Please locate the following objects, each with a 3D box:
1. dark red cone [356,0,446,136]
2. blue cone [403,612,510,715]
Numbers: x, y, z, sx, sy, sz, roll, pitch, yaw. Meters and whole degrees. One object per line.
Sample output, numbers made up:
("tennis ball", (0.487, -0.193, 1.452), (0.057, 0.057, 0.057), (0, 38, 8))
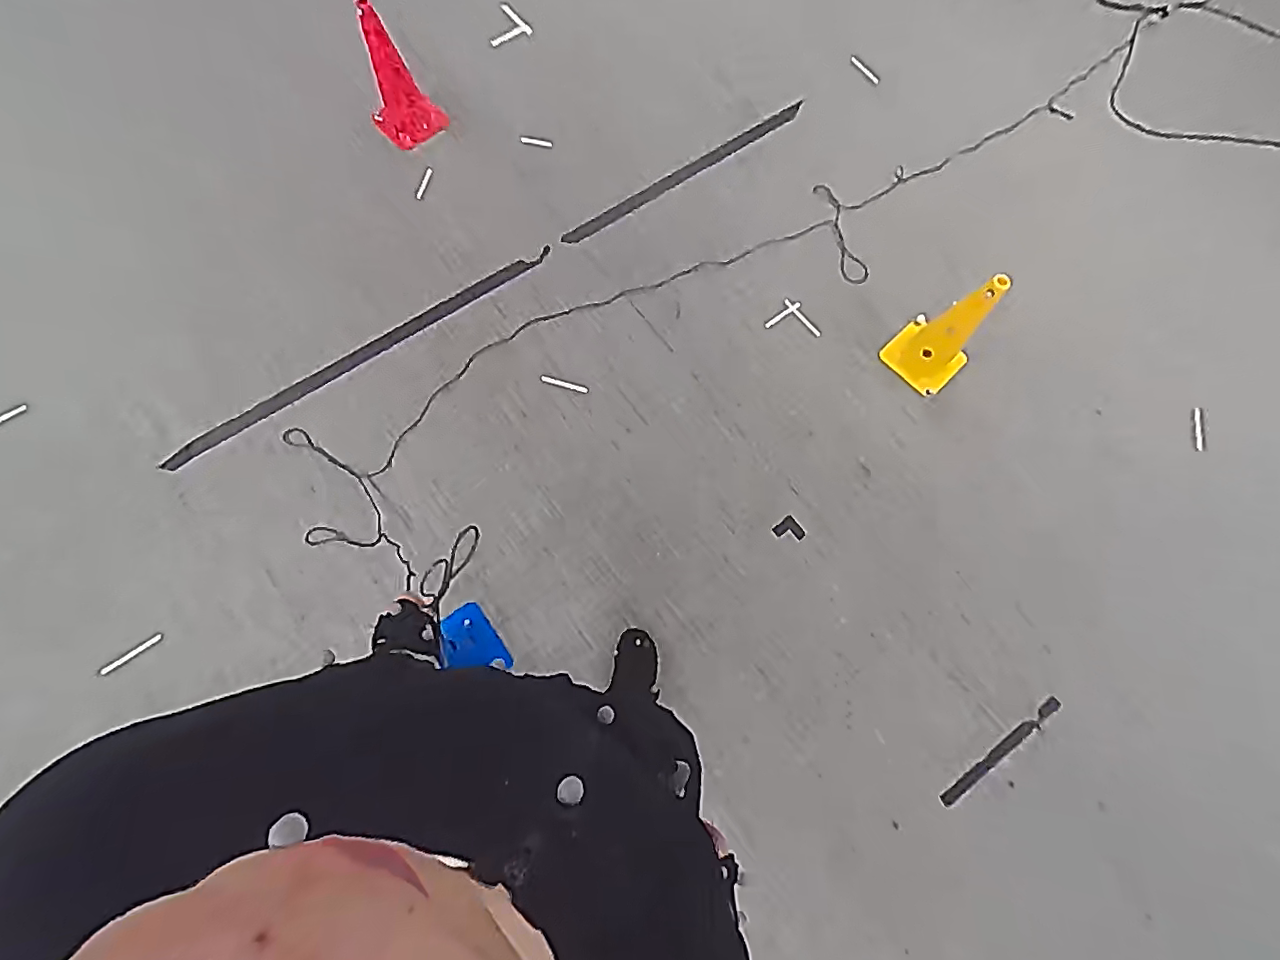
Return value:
("dark red cone", (-0.760, -1.270, 1.616), (0.202, 0.394, 0.201), (-43, 80, -12))
("blue cone", (-0.429, 0.399, 1.164), (0.193, 0.380, 0.192), (-34, 79, -11))
